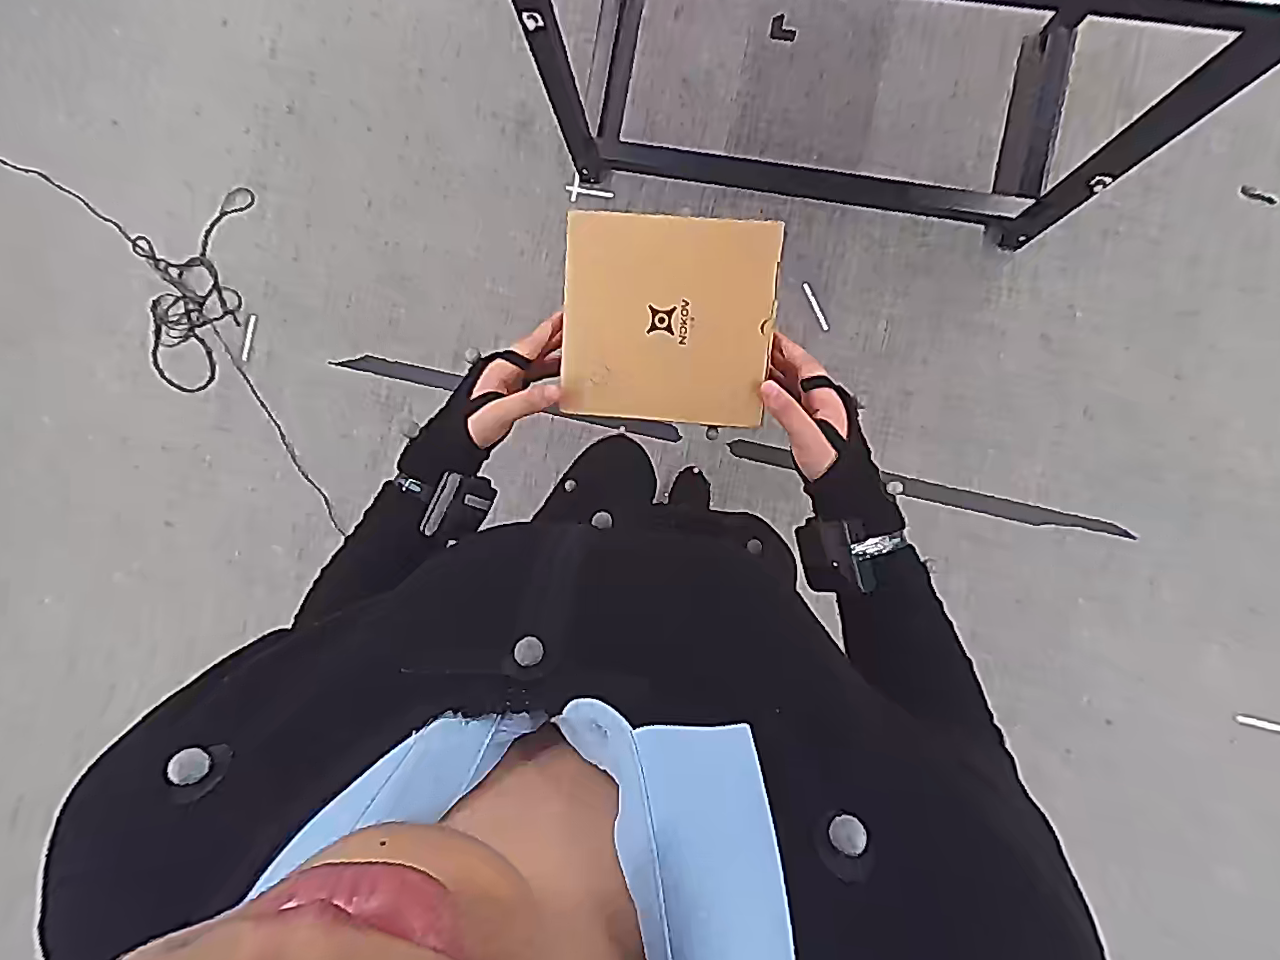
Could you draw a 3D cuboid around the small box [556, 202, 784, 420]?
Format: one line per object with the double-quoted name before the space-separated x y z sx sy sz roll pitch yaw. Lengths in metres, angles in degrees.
"small box" 0.027 -0.148 0.520 0.179 0.176 0.168 5 99 2
